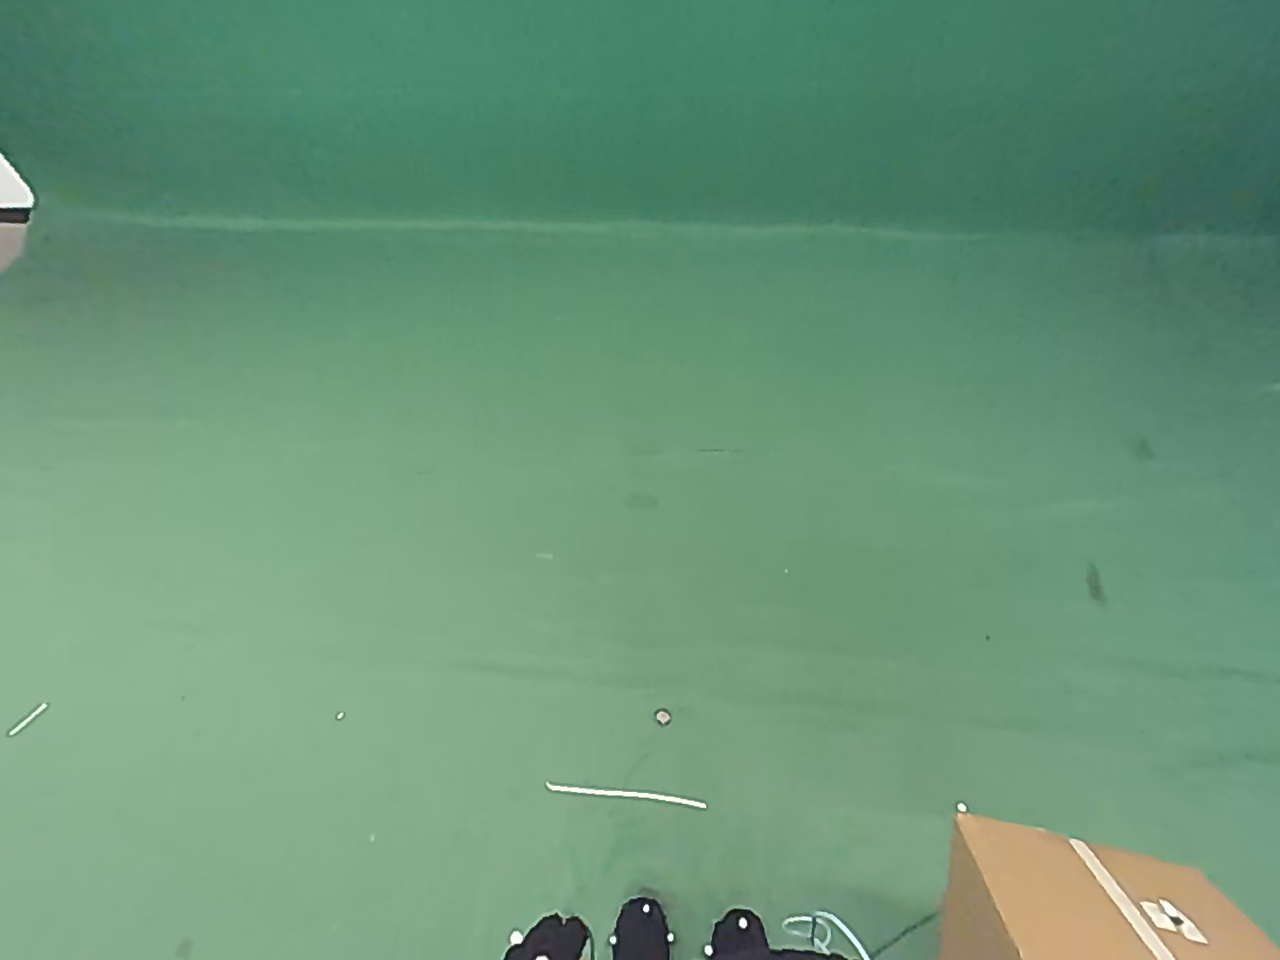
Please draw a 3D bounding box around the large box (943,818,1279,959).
[{"bbox_3d":[0.567,0.686,0.609,0.320,0.408,0.320,7,92,16],"label":"large box"}]
